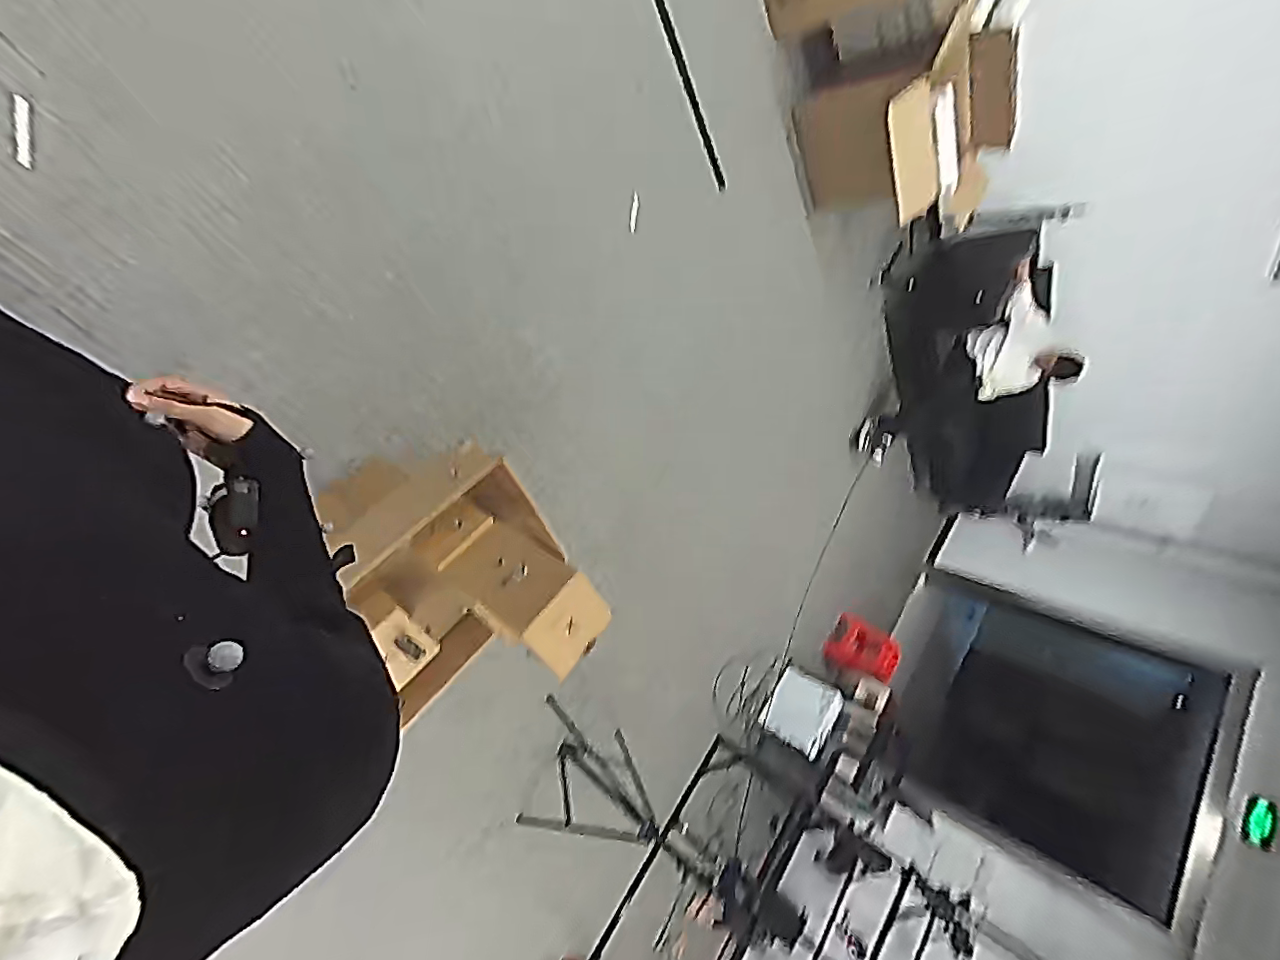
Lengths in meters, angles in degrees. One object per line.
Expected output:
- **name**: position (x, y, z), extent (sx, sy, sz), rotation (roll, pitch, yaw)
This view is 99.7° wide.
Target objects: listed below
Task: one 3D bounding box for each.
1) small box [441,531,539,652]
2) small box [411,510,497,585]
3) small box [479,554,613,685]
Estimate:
- **small box**: position (-0.310, 0.243, 1.222), extent (0.179, 0.176, 0.168), rotation (-45, 132, -25)
- **small box**: position (-0.425, 0.194, 1.330), extent (0.168, 0.176, 0.179), rotation (-46, 133, -23)
- **small box**: position (-0.192, 0.280, 1.114), extent (0.168, 0.176, 0.179), rotation (-48, 134, -24)
